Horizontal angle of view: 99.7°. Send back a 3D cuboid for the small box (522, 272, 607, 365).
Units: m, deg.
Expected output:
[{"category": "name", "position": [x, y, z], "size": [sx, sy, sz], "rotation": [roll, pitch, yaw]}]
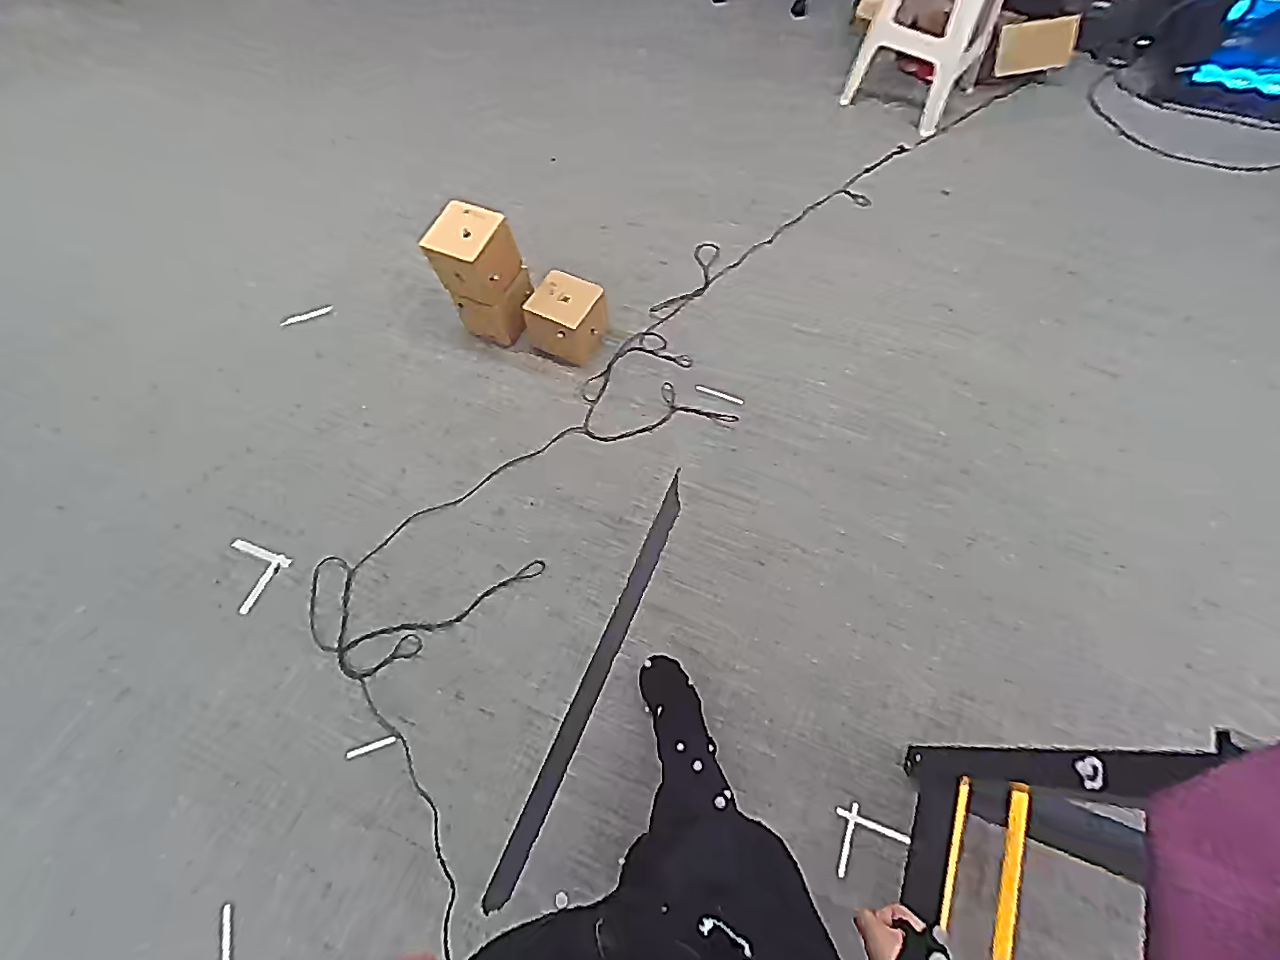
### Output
[{"category": "small box", "position": [-0.210, -0.463, 1.573], "size": [0.179, 0.176, 0.168], "rotation": [25, 67, 14]}]
